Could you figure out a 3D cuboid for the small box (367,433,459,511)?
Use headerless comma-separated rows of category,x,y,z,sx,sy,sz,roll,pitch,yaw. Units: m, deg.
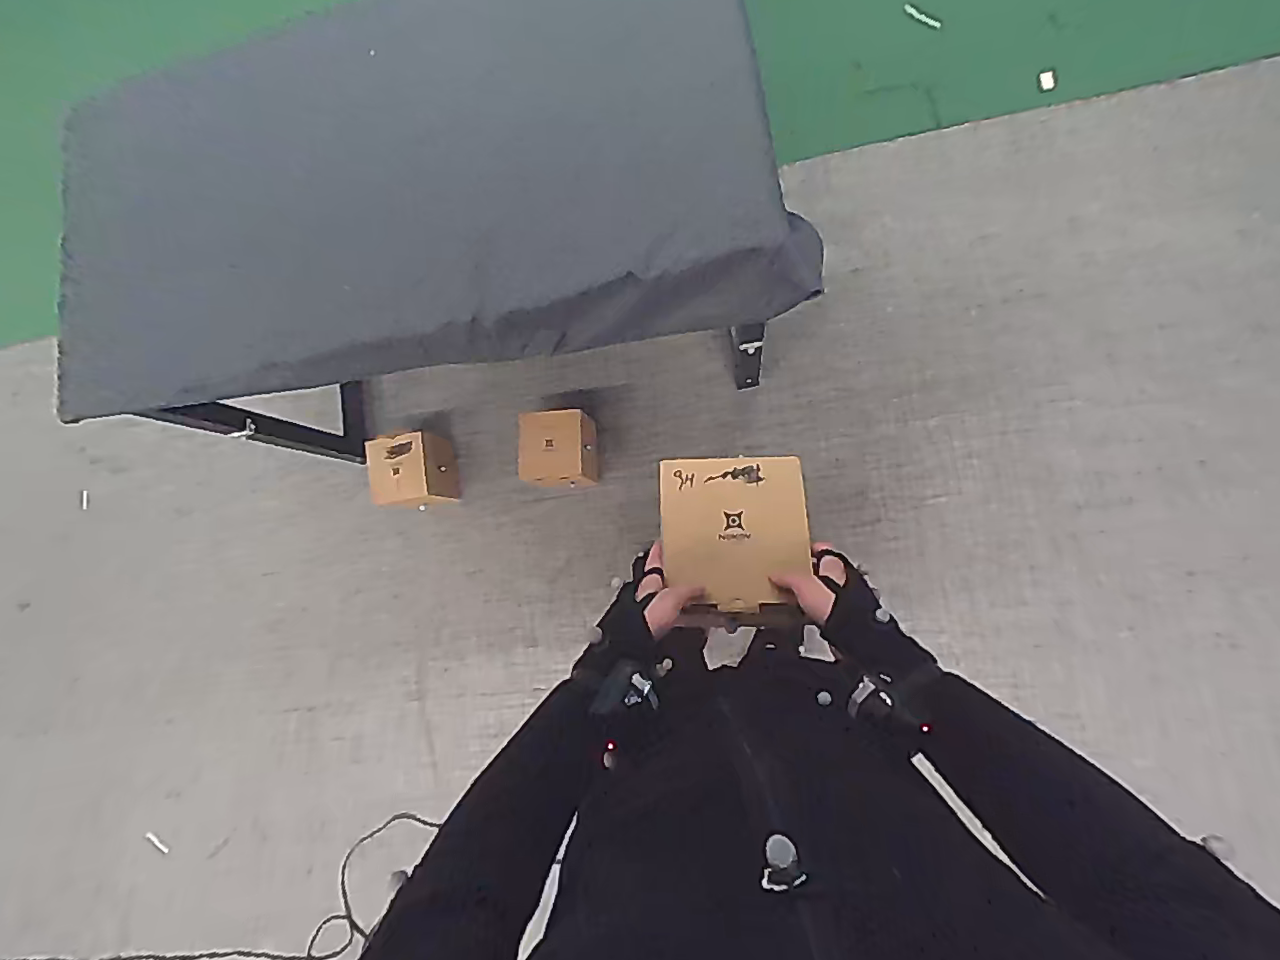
small box,-0.617,-0.015,1.484,0.168,0.176,0.179,-11,83,9

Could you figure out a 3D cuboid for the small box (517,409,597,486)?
small box,-0.213,-0.078,1.422,0.168,0.176,0.179,-5,82,8

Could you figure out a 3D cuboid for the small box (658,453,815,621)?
small box,0.110,0.080,0.672,0.168,0.176,0.179,-3,69,4
